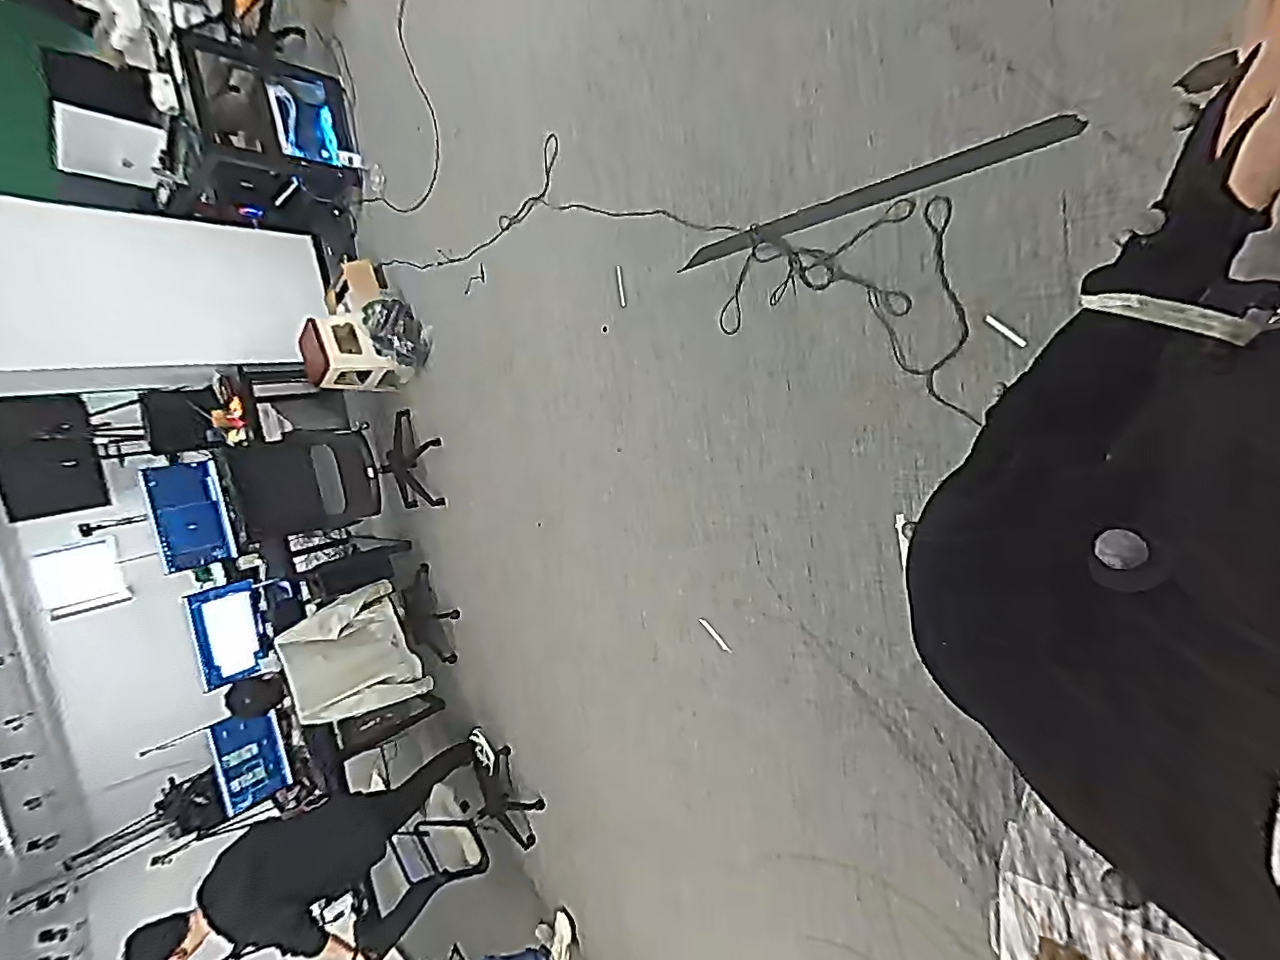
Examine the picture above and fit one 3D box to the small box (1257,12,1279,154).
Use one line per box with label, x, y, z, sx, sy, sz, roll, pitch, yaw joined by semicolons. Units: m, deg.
small box;0.425;-0.274;0.233;0.168;0.176;0.179;8;104;35
